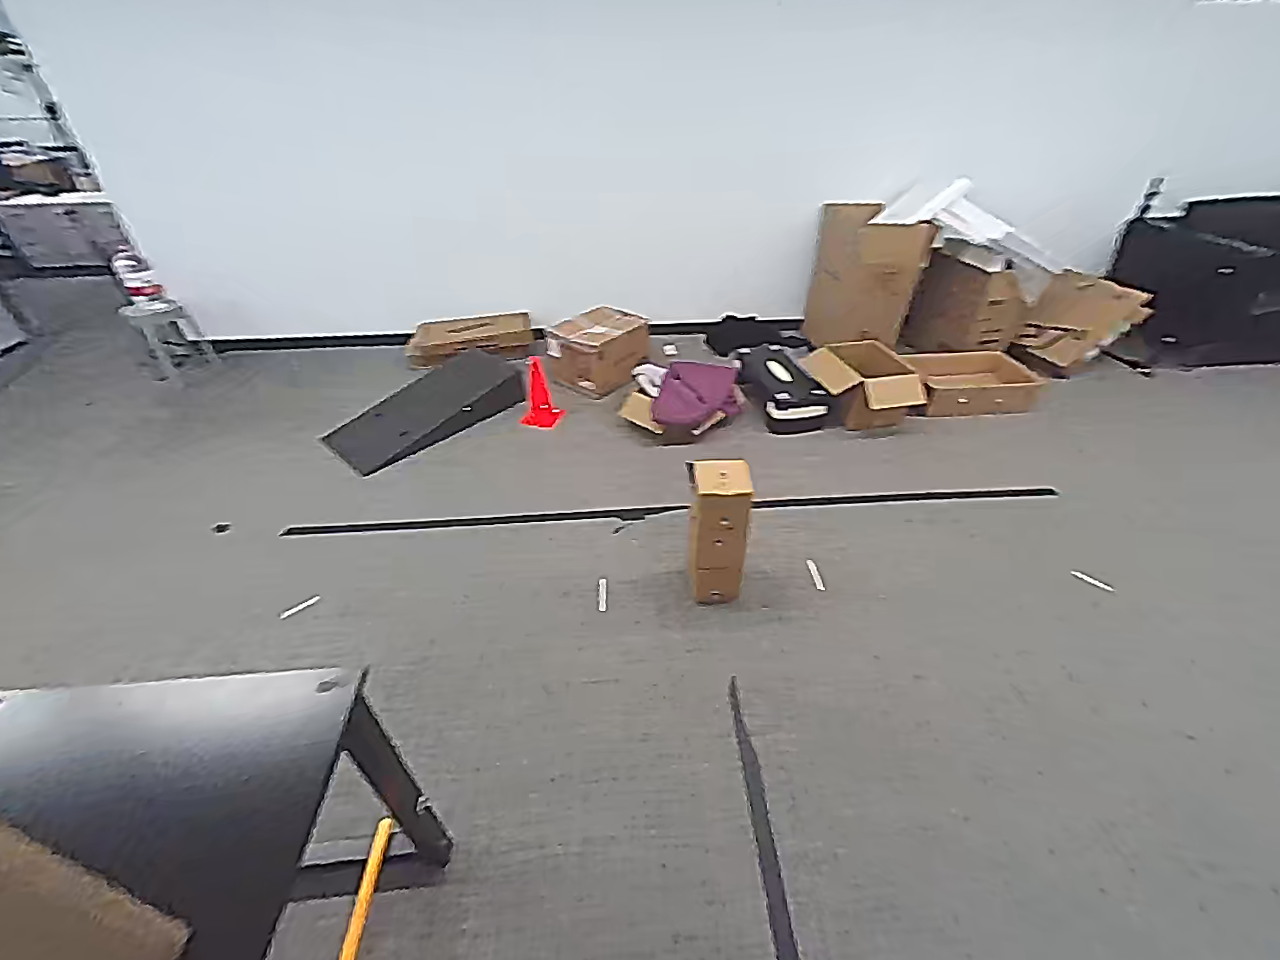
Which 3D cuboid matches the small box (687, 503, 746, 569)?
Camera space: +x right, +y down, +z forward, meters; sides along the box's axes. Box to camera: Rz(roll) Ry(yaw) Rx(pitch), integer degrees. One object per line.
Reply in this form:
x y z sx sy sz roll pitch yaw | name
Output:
0.255 0.189 1.856 0.179 0.176 0.168 -3 38 -3 | small box

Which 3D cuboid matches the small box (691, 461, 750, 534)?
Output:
0.255 0.057 1.758 0.168 0.176 0.179 -2 38 0 | small box

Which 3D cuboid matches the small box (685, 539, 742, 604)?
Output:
0.258 0.321 1.955 0.168 0.176 0.179 -7 39 -6 | small box
